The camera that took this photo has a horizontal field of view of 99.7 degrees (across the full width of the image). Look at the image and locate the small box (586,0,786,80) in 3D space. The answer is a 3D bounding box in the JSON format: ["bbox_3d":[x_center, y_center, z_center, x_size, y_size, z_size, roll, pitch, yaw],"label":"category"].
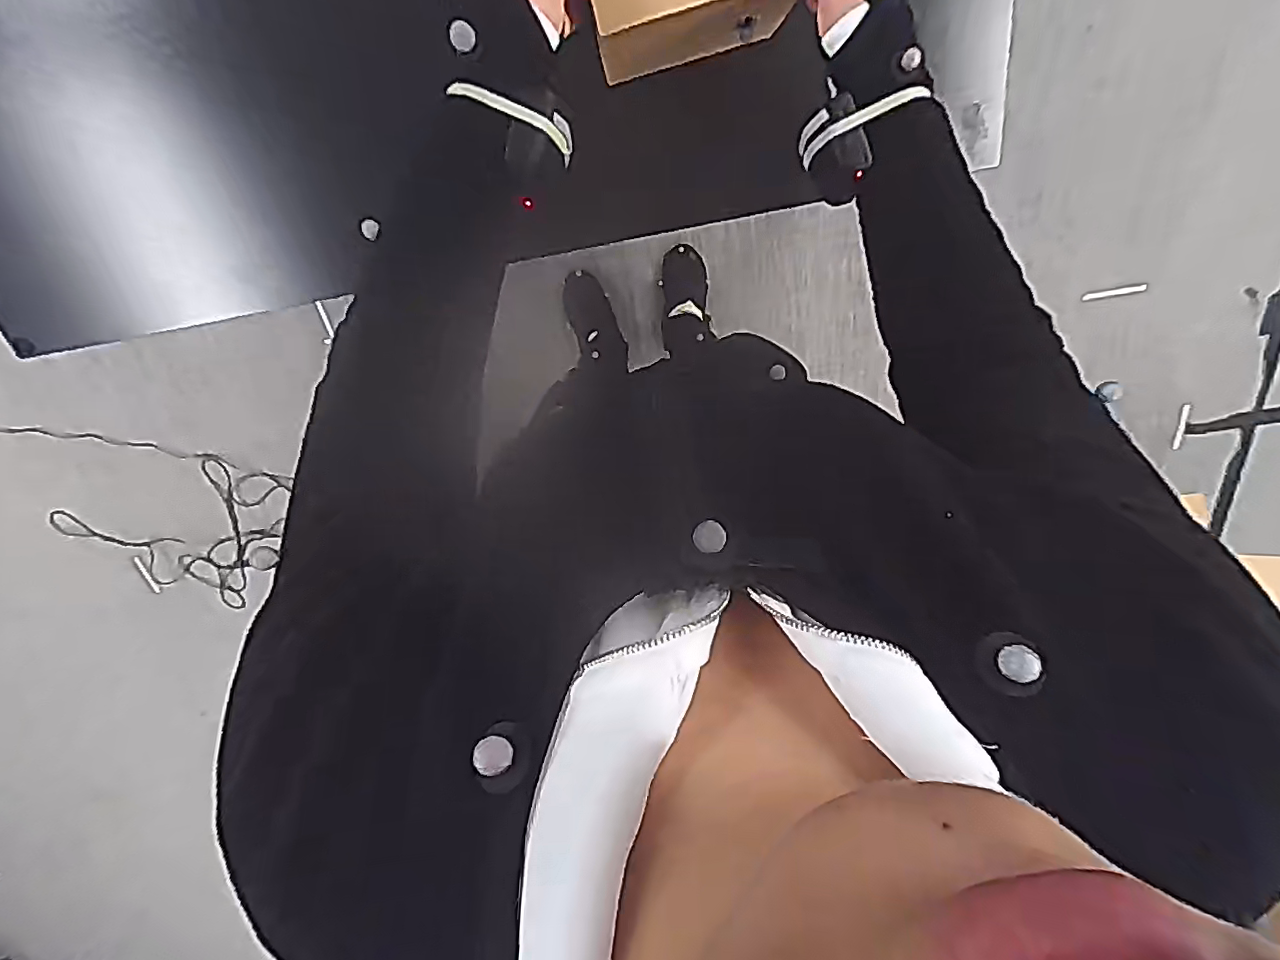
[{"bbox_3d":[0.029,-0.474,0.457,0.179,0.176,0.168,-13,114,7],"label":"small box"}]
